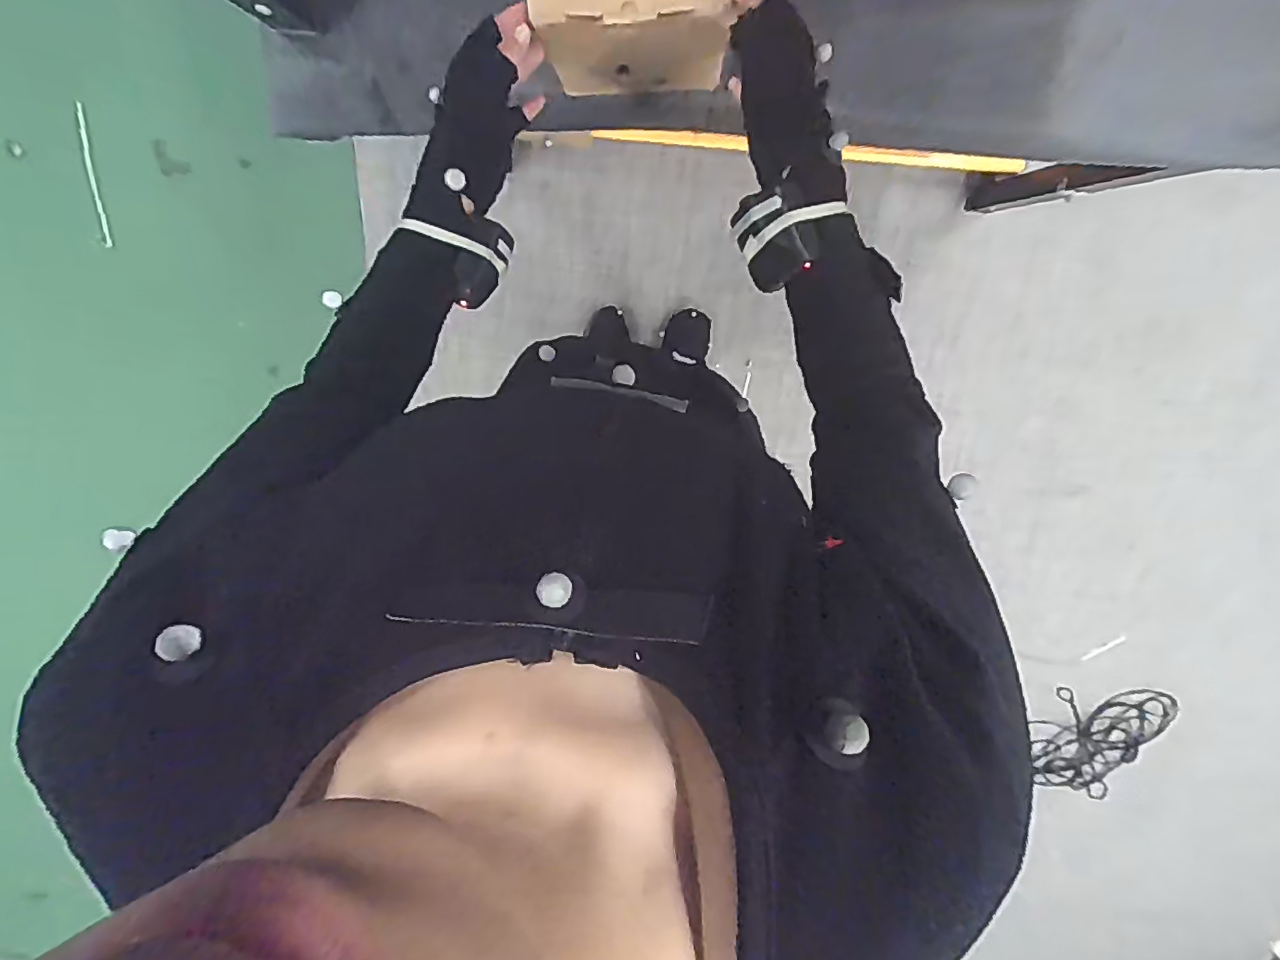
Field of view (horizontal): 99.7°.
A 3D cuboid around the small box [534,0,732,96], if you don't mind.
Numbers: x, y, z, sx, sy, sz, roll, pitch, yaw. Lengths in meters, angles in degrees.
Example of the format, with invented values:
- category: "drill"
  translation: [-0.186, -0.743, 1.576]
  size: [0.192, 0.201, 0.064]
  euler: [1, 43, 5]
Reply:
- category: "small box"
  translation: [-0.003, -0.486, 0.497]
  size: [0.168, 0.176, 0.179]
  euler: [0, 109, 3]
